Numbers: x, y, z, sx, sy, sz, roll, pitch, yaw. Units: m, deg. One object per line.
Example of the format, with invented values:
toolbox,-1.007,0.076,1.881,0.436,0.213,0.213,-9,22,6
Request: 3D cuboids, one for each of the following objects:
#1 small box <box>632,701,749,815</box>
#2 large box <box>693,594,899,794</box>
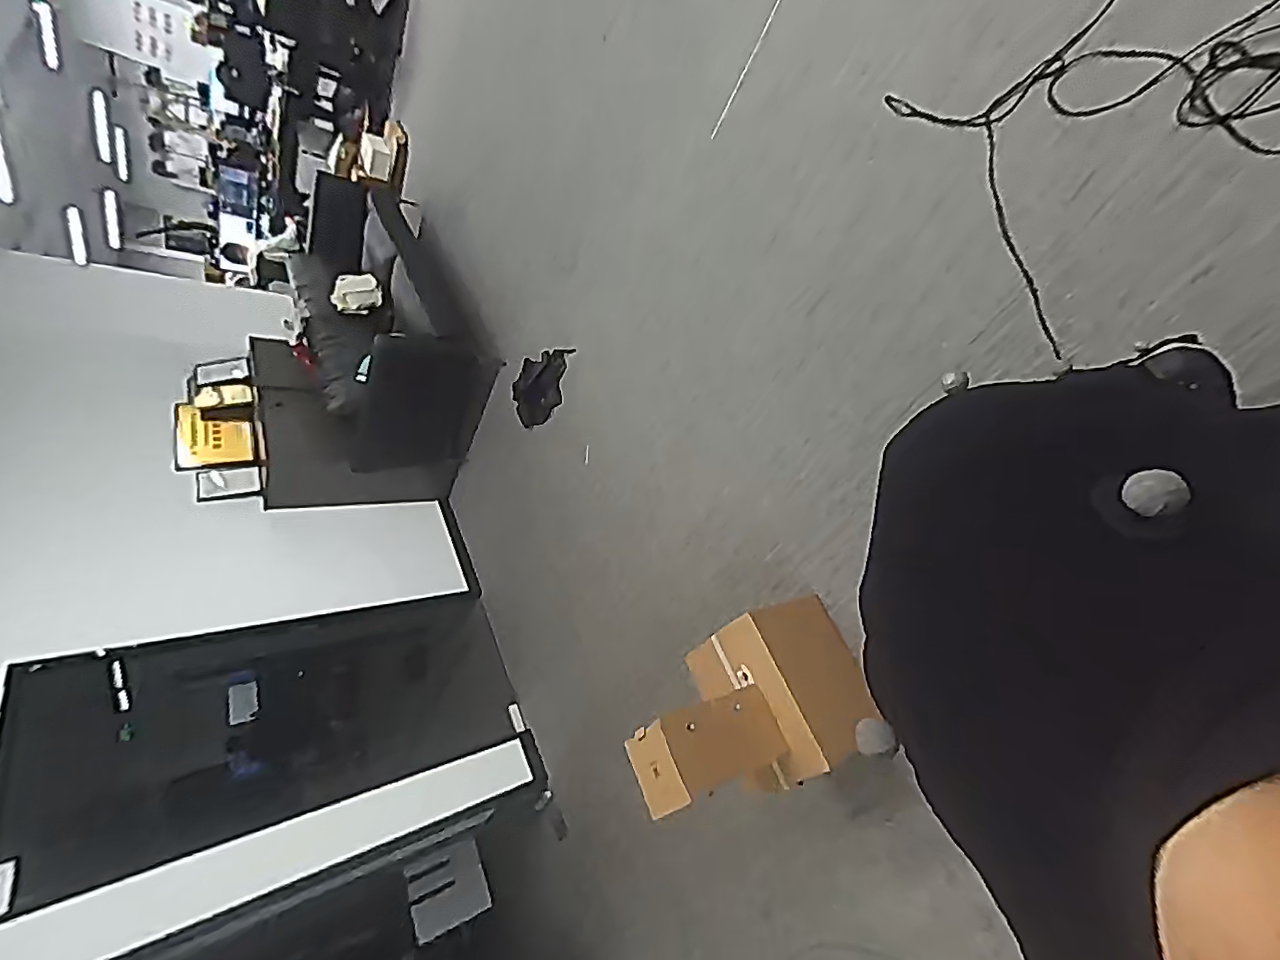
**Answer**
small box,0.115,0.633,1.249,0.168,0.176,0.179,-55,51,39
large box,0.424,0.584,1.514,0.320,0.320,0.408,-50,53,39
